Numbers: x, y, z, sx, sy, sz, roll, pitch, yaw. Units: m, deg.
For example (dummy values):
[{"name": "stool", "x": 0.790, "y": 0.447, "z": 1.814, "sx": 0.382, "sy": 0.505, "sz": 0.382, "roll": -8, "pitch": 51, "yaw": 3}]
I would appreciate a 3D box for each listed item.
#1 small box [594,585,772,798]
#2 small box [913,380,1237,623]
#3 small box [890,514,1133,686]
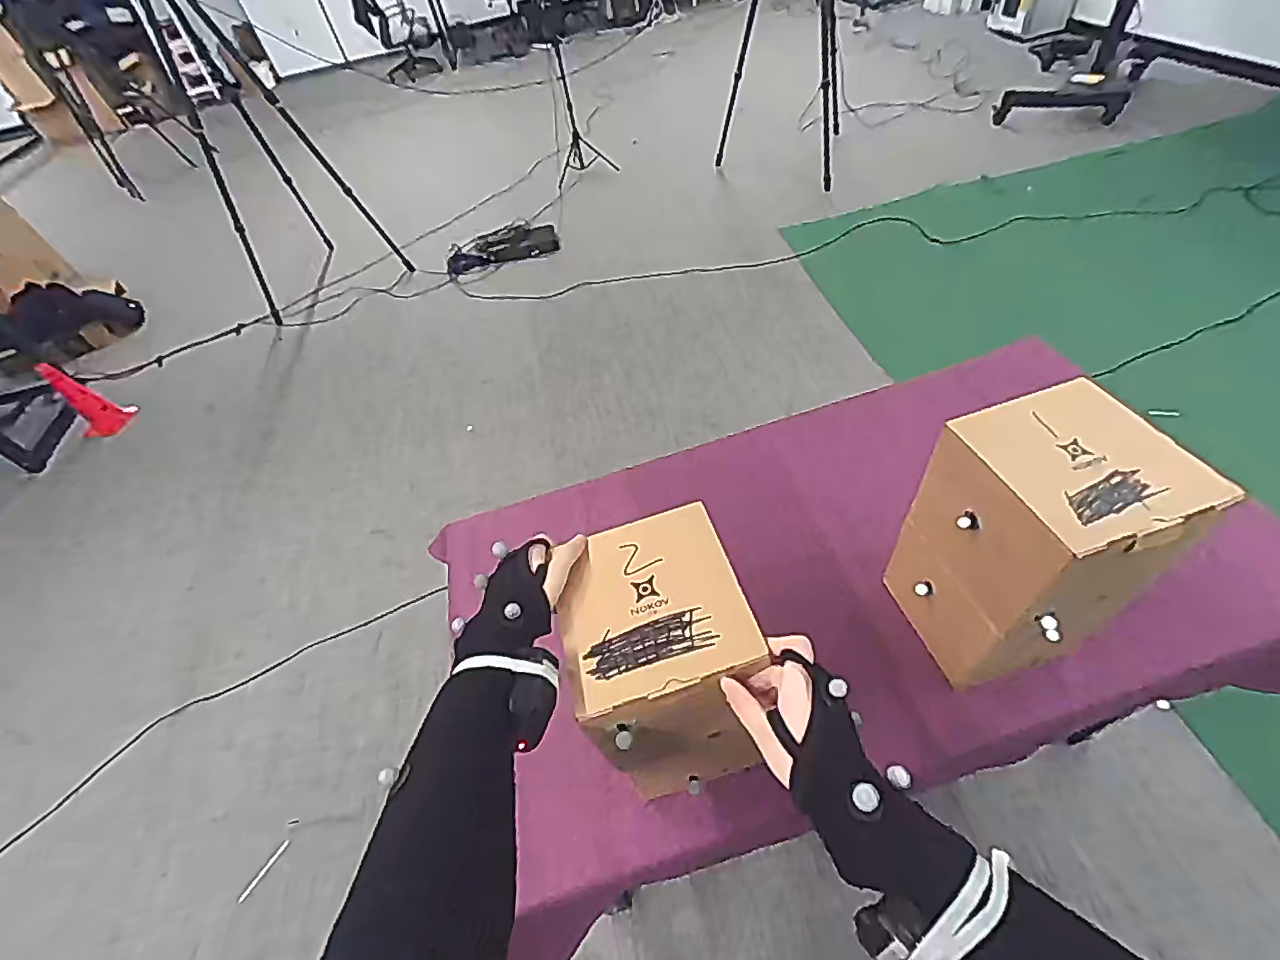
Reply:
[{"name": "small box", "x": 0.051, "y": 0.265, "z": 0.673, "sx": 0.168, "sy": 0.176, "sz": 0.179, "roll": -17, "pitch": 49, "yaw": -2}, {"name": "small box", "x": 0.426, "y": 0.031, "z": 0.572, "sx": 0.168, "sy": 0.176, "sz": 0.179, "roll": -18, "pitch": 49, "yaw": -4}, {"name": "small box", "x": 0.451, "y": 0.135, "z": 0.697, "sx": 0.168, "sy": 0.176, "sz": 0.179, "roll": -18, "pitch": 49, "yaw": -2}]
